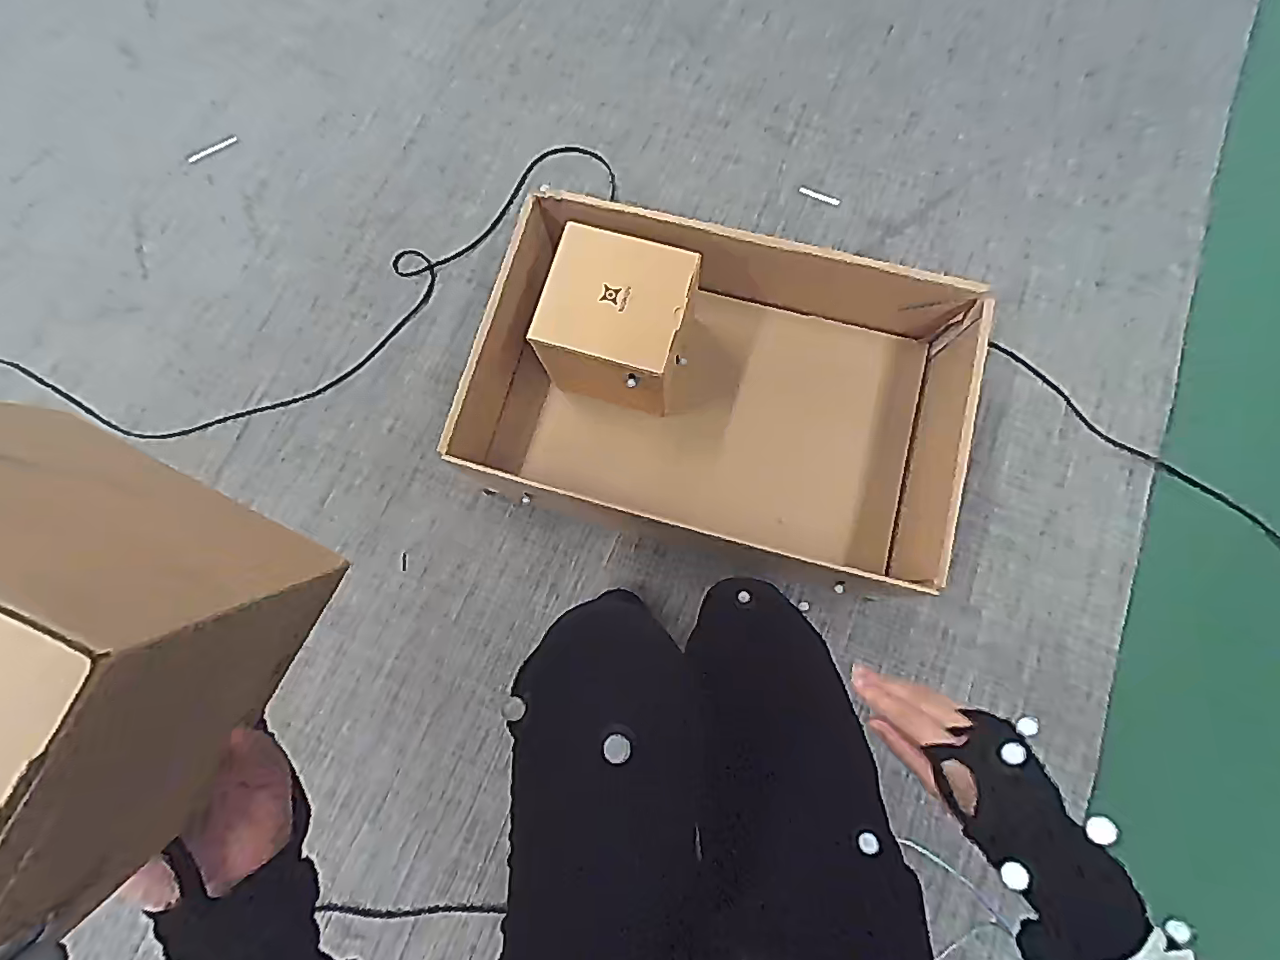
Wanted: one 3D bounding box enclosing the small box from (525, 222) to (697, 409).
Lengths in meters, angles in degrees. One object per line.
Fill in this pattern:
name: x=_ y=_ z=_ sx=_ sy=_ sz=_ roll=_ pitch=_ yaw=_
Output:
small box: x=-0.032 y=-0.211 z=0.734 sx=0.179 sy=0.176 sz=0.168 roll=15 pitch=81 yaw=4
